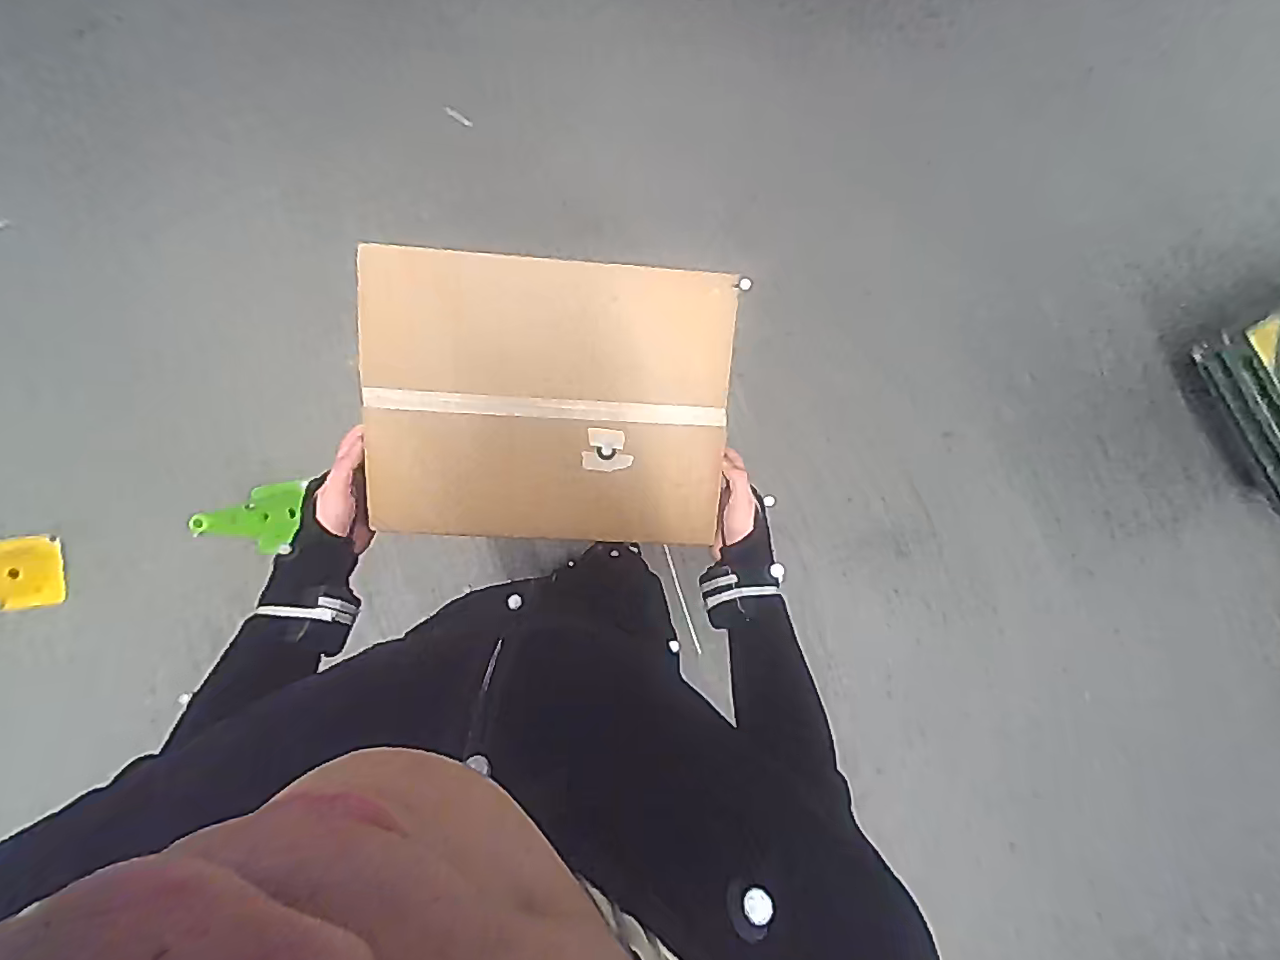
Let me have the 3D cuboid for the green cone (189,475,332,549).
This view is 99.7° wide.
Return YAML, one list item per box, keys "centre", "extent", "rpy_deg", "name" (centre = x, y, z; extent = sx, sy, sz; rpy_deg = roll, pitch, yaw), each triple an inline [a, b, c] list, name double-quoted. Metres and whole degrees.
- centre: [-1.024, 0.090, 1.432]
  extent: [0.202, 0.368, 0.200]
  rpy_deg: [-11, 89, -1]
  name: "green cone"

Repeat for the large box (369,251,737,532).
- centre: [-0.107, -0.120, 0.761]
  extent: [0.408, 0.320, 0.320]
  rpy_deg: [1, 103, -5]
  name: "large box"
